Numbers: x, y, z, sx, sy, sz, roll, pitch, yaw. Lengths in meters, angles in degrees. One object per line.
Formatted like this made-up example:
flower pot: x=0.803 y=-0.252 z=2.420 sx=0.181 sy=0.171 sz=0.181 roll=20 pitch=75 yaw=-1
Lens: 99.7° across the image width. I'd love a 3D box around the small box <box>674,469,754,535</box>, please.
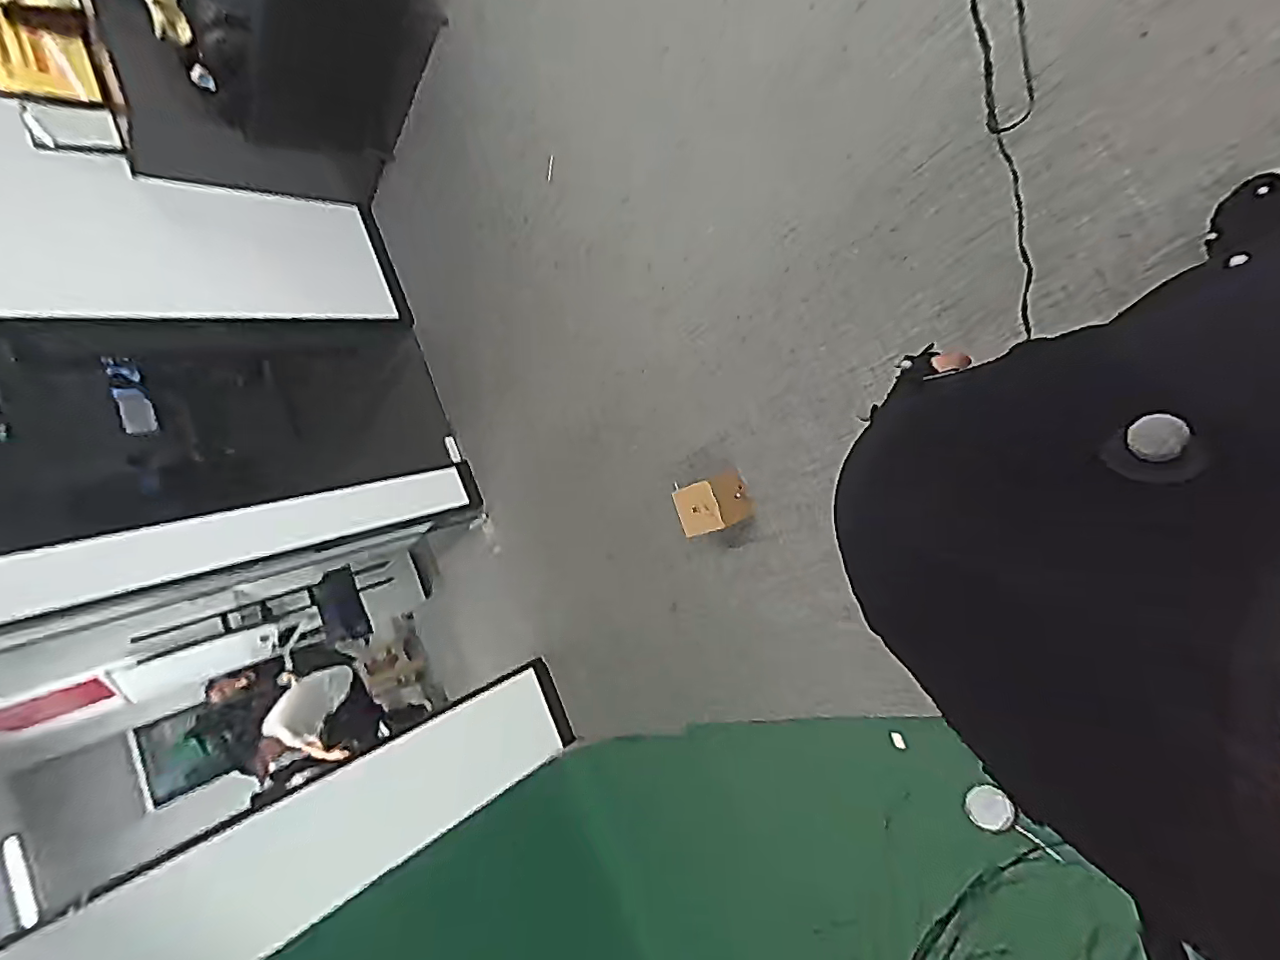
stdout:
small box: x=0.252 y=0.074 z=1.832 sx=0.179 sy=0.176 sz=0.168 roll=-22 pitch=86 yaw=46
